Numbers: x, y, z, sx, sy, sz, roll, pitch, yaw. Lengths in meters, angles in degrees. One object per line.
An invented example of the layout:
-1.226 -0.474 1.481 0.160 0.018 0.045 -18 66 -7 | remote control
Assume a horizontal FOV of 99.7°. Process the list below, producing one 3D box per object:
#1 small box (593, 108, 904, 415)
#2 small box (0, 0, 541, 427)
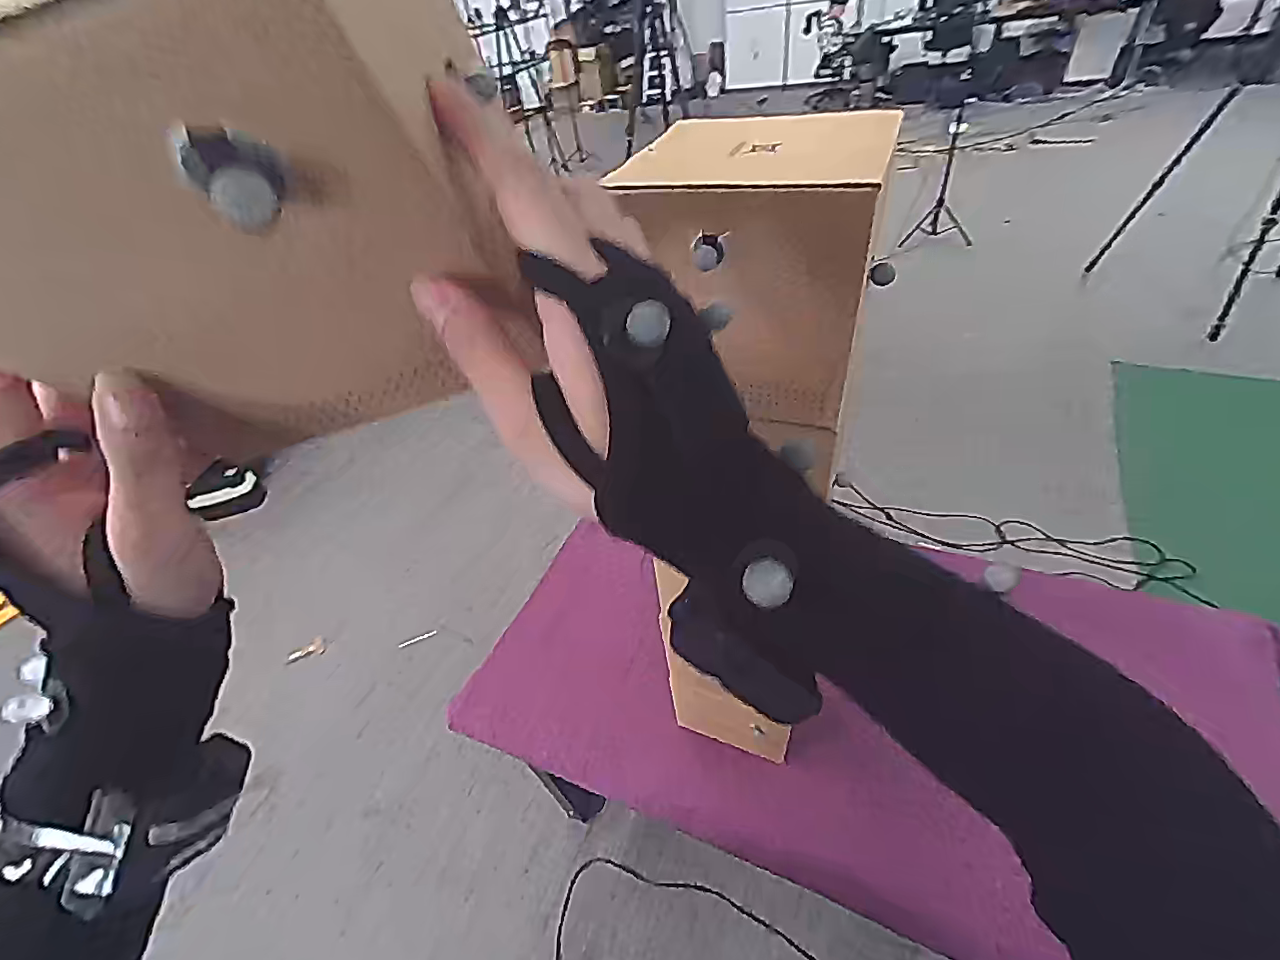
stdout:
0.089 -0.167 0.422 0.179 0.176 0.168 11 47 22 | small box
-0.150 -0.143 0.219 0.179 0.176 0.168 -15 68 8 | small box
